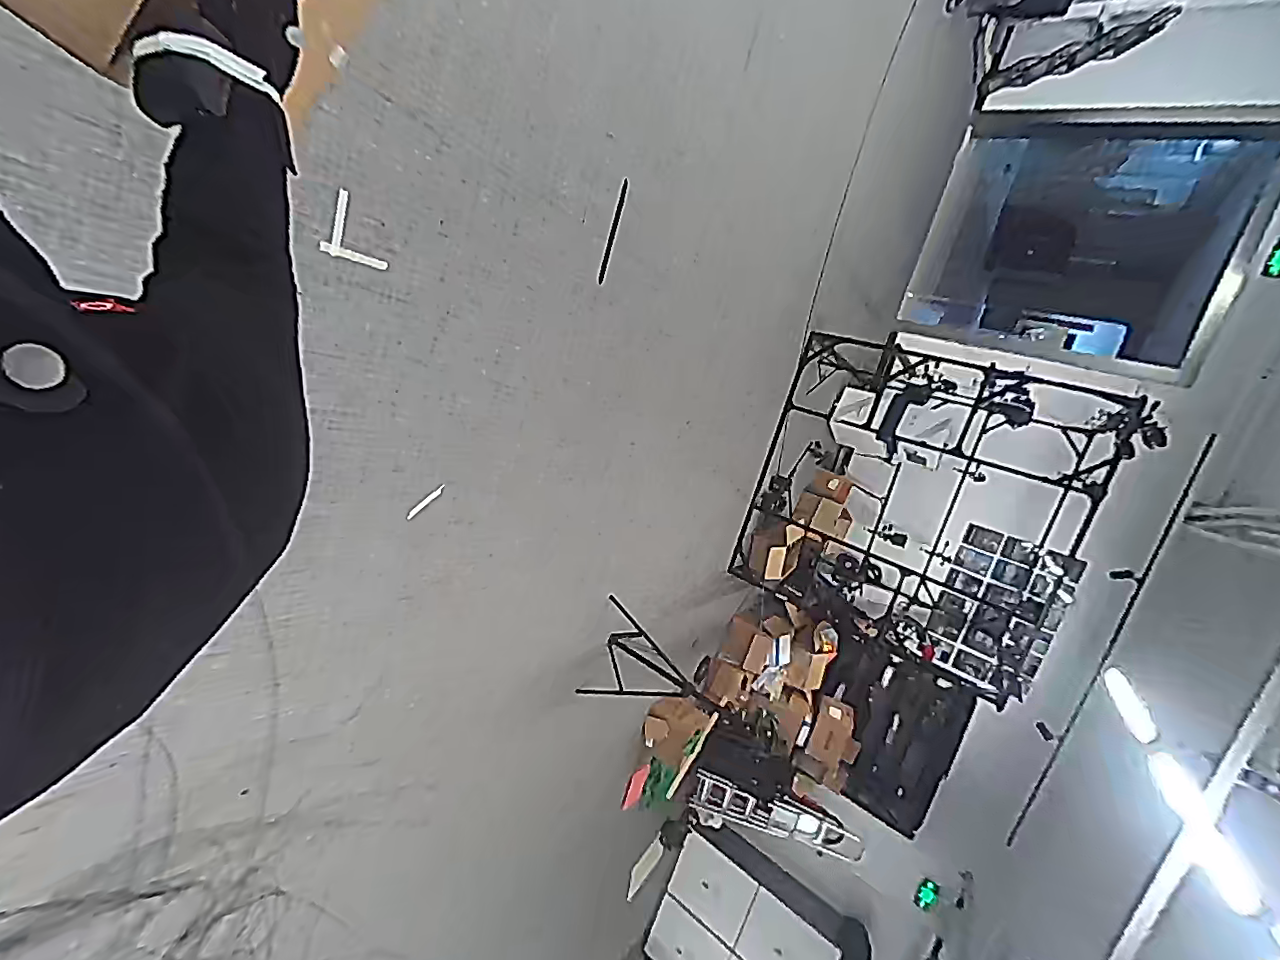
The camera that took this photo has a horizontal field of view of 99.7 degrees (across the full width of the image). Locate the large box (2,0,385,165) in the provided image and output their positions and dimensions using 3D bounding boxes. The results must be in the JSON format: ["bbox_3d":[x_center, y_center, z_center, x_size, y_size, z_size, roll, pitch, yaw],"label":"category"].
[{"bbox_3d":[-0.490,-0.576,0.467,0.408,0.320,0.320,35,99,-20],"label":"large box"}]
